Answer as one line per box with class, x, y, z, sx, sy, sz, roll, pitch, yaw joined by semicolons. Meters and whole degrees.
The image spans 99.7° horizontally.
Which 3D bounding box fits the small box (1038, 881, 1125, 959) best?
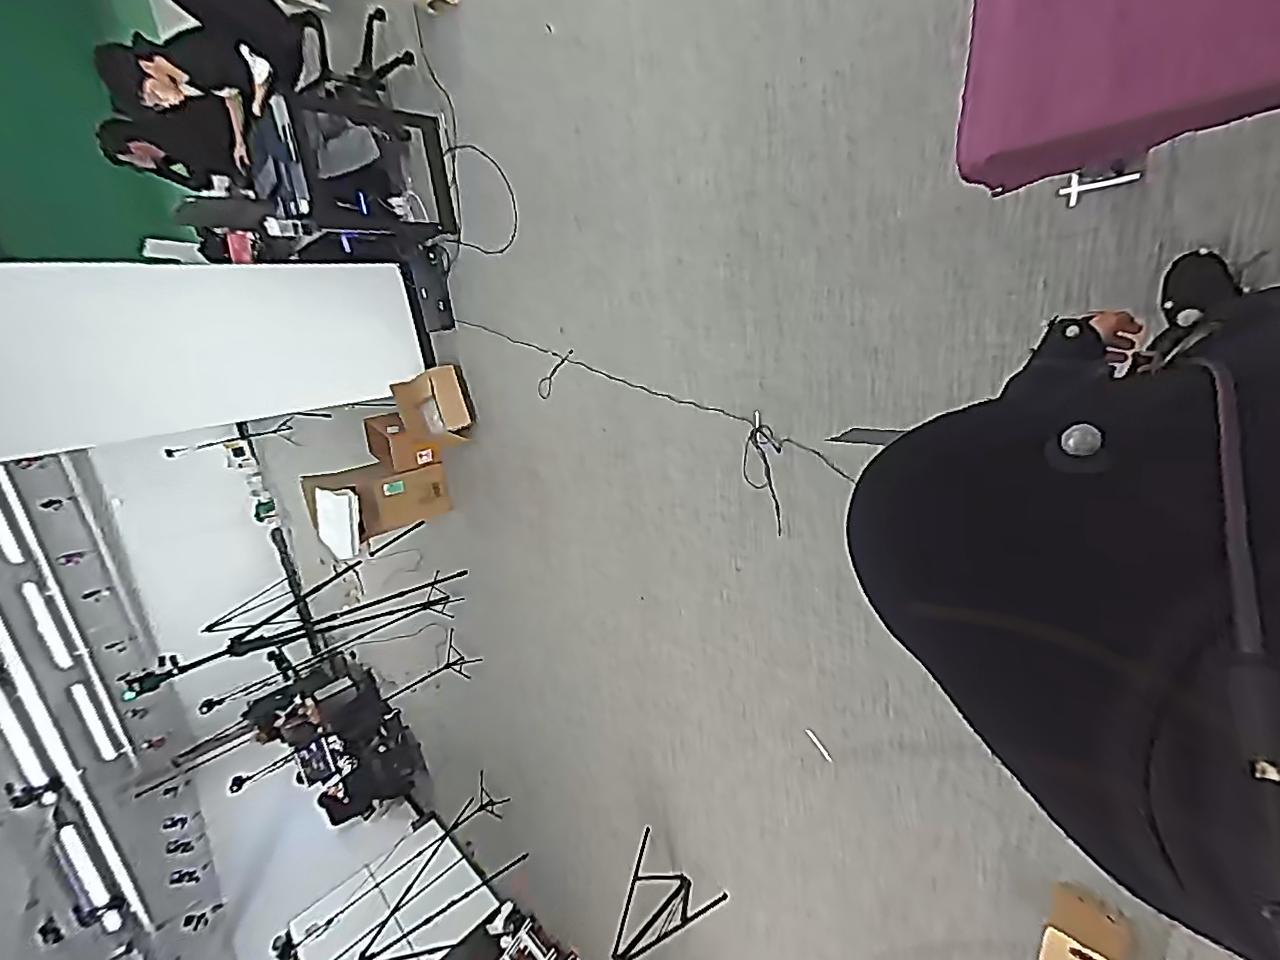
small box;1.301;1.345;1.591;0.168;0.176;0.179;14;117;44
